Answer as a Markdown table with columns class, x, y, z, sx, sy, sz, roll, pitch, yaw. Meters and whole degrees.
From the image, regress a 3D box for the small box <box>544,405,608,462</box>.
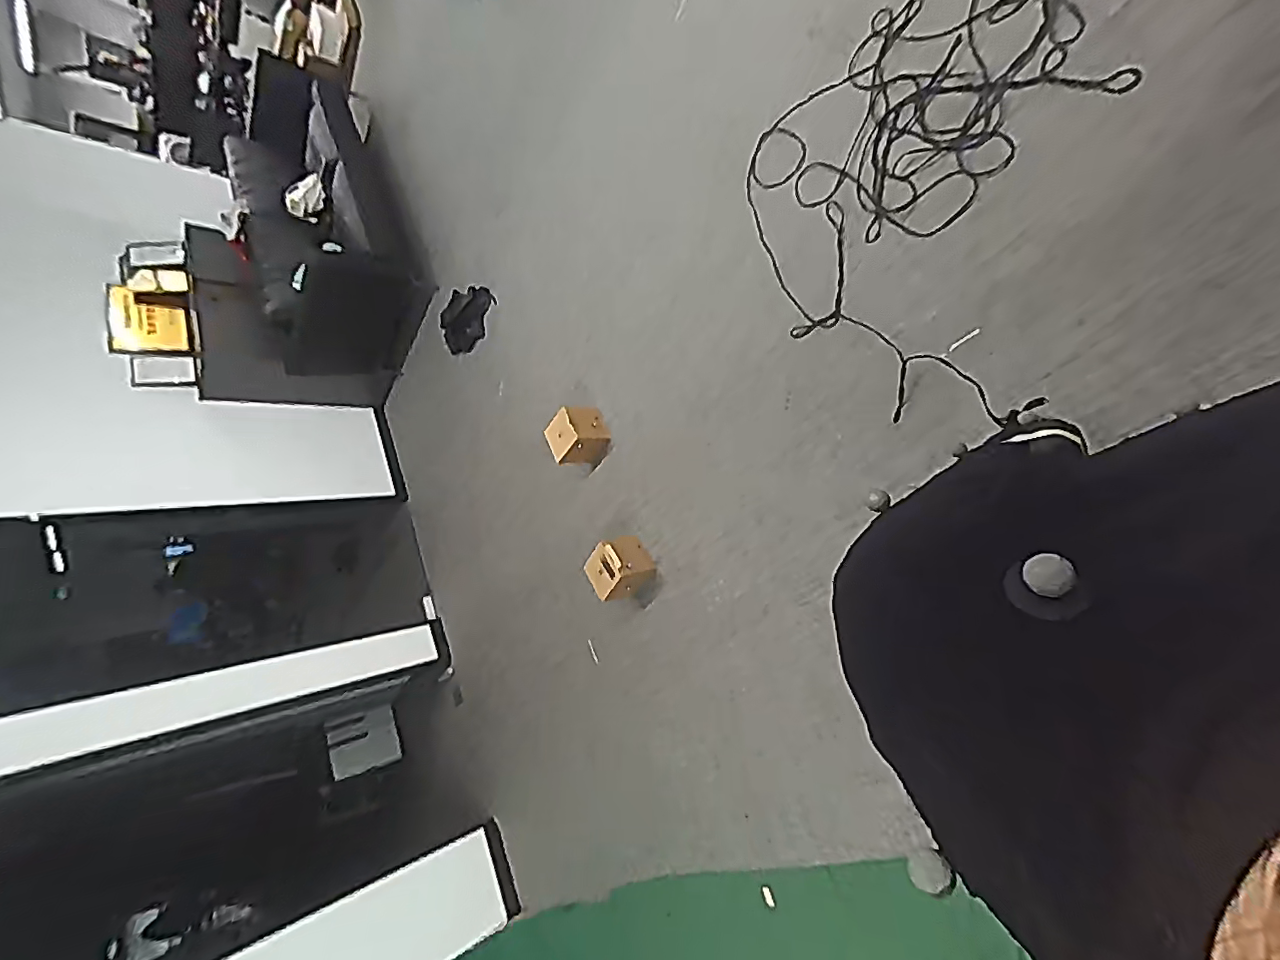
| class | x | y | z | sx | sy | sz | roll | pitch | yaw |
| --- | --- | --- | --- | --- | --- | --- | --- | --- | --- |
| small box | -0.259 | -0.185 | 2.201 | 0.179 | 0.176 | 0.168 | -46 | 60 | 38 |
